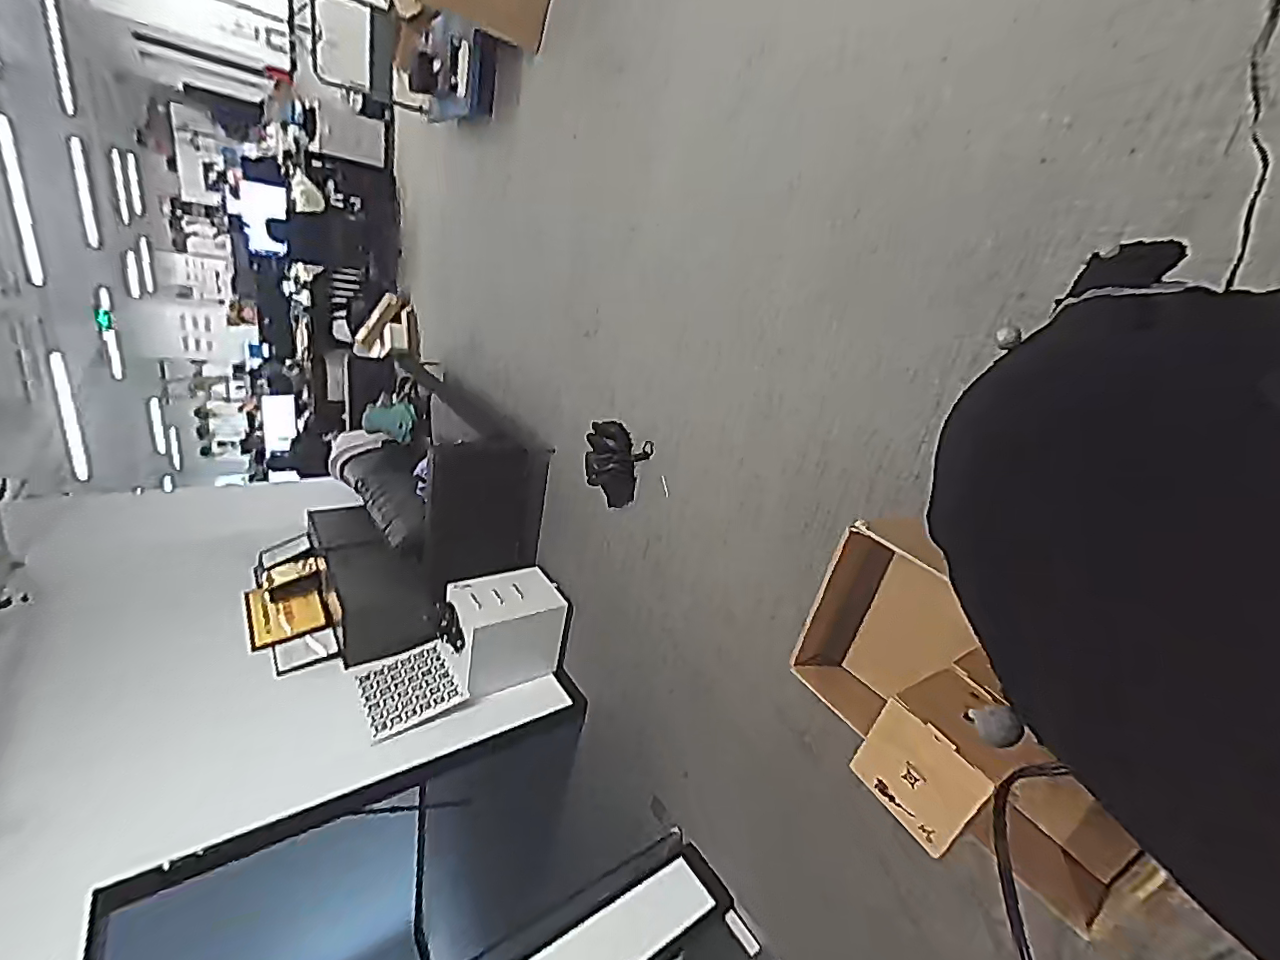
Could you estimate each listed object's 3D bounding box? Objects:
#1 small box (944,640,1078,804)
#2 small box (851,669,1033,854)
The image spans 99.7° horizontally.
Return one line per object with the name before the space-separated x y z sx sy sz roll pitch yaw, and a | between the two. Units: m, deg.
small box | 0.618 0.411 0.947 0.168 0.176 0.179 43 130 44
small box | 0.481 0.433 0.859 0.168 0.176 0.179 43 127 45
